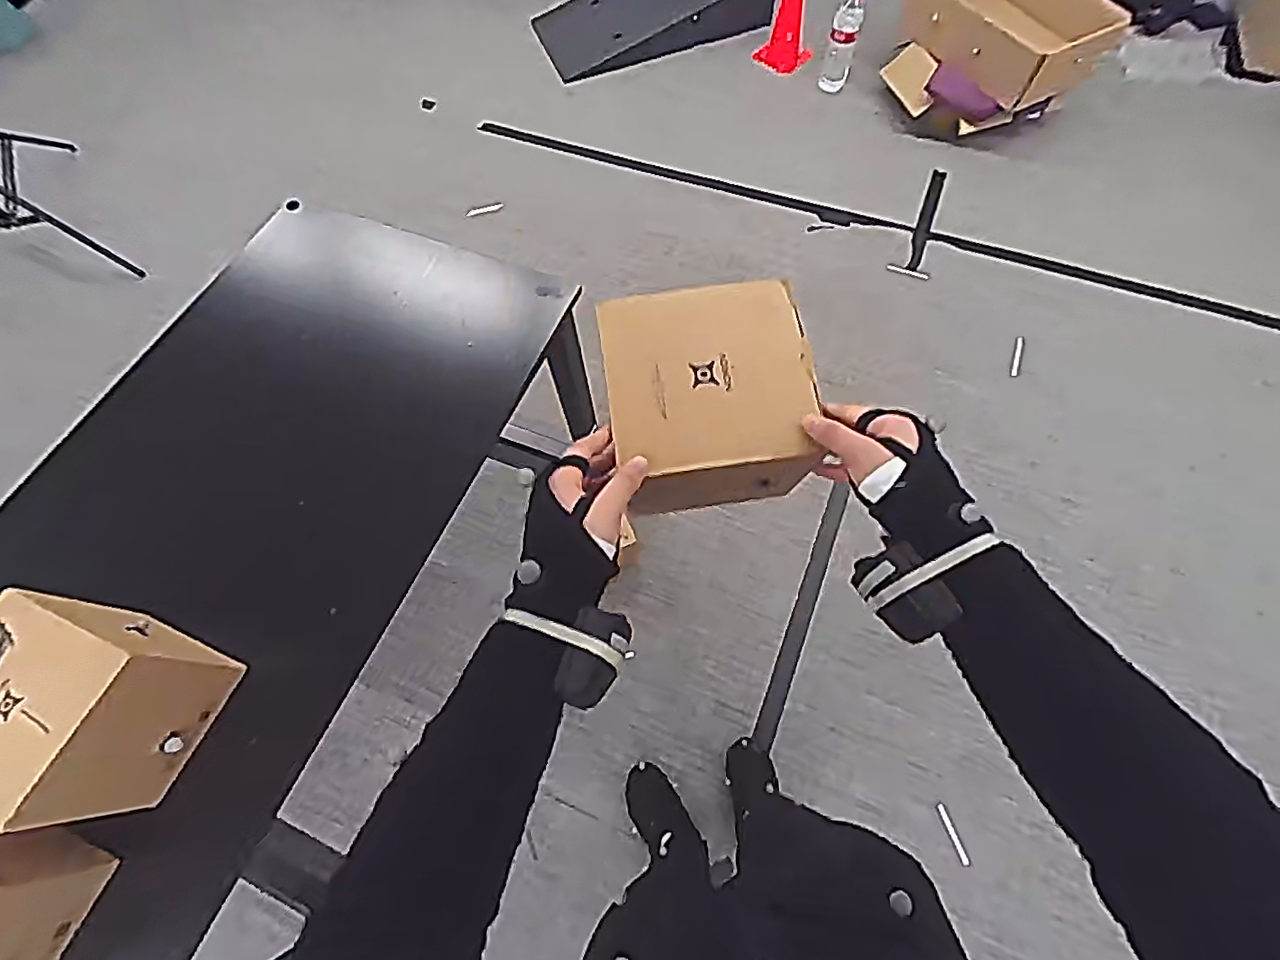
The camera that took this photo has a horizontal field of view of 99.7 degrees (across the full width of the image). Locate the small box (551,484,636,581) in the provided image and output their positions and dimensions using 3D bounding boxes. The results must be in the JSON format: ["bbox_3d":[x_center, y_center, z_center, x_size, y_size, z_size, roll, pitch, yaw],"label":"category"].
[{"bbox_3d":[-0.117,0.142,1.412,0.168,0.176,0.179,-23,68,-8],"label":"small box"}]

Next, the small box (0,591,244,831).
[{"bbox_3d":[-0.600,0.244,0.589,0.179,0.176,0.168,20,69,10],"label":"small box"}]

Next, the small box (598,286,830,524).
[{"bbox_3d":[0.061,-0.061,0.533,0.179,0.176,0.168,-9,74,0],"label":"small box"}]
